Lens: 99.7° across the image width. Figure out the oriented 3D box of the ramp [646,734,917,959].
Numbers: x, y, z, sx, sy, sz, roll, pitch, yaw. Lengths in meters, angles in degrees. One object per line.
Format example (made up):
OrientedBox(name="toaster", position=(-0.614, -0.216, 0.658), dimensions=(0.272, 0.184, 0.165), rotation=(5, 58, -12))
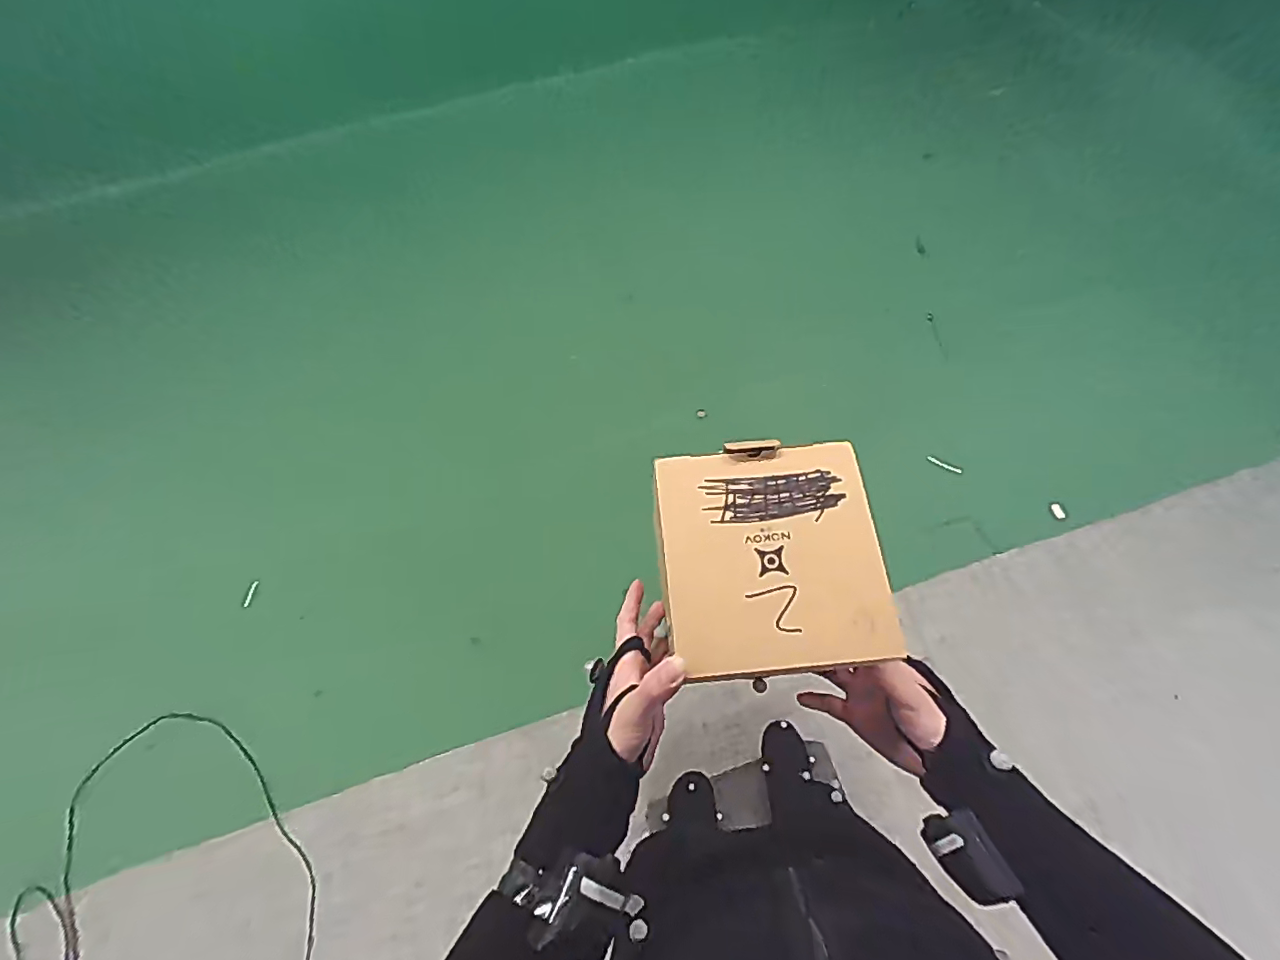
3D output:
OrientedBox(name="ramp", position=(0.409, 1.174, 1.240), dimensions=(0.509, 0.206, 0.991), rotation=(-20, 66, -7))
